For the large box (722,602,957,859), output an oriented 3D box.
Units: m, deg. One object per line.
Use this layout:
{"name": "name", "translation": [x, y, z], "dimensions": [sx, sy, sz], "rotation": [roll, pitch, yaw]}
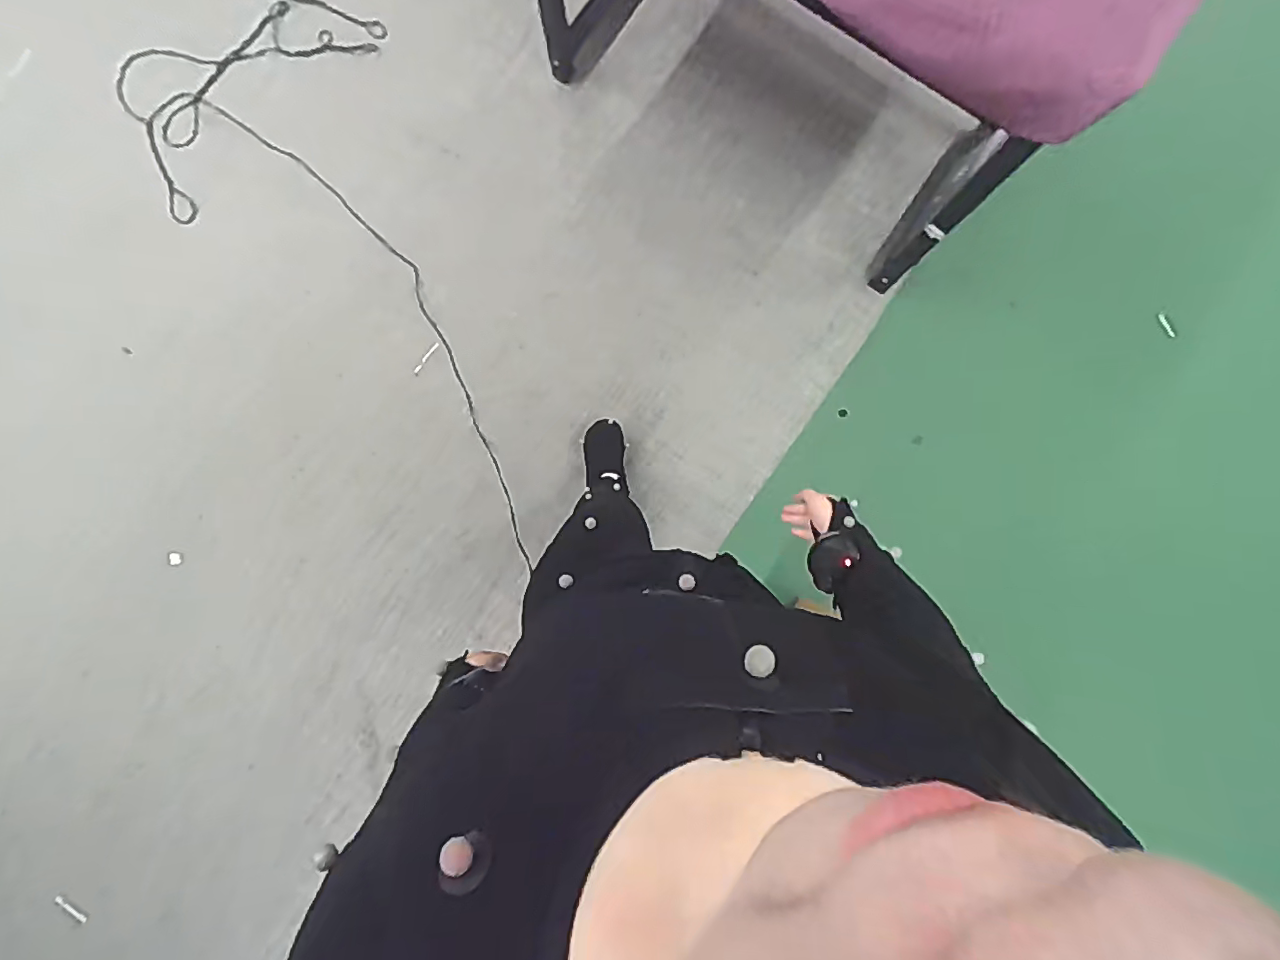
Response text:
{"name": "large box", "translation": [0.451, 0.566, 1.309], "dimensions": [0.320, 0.320, 0.408], "rotation": [37, 88, 4]}
